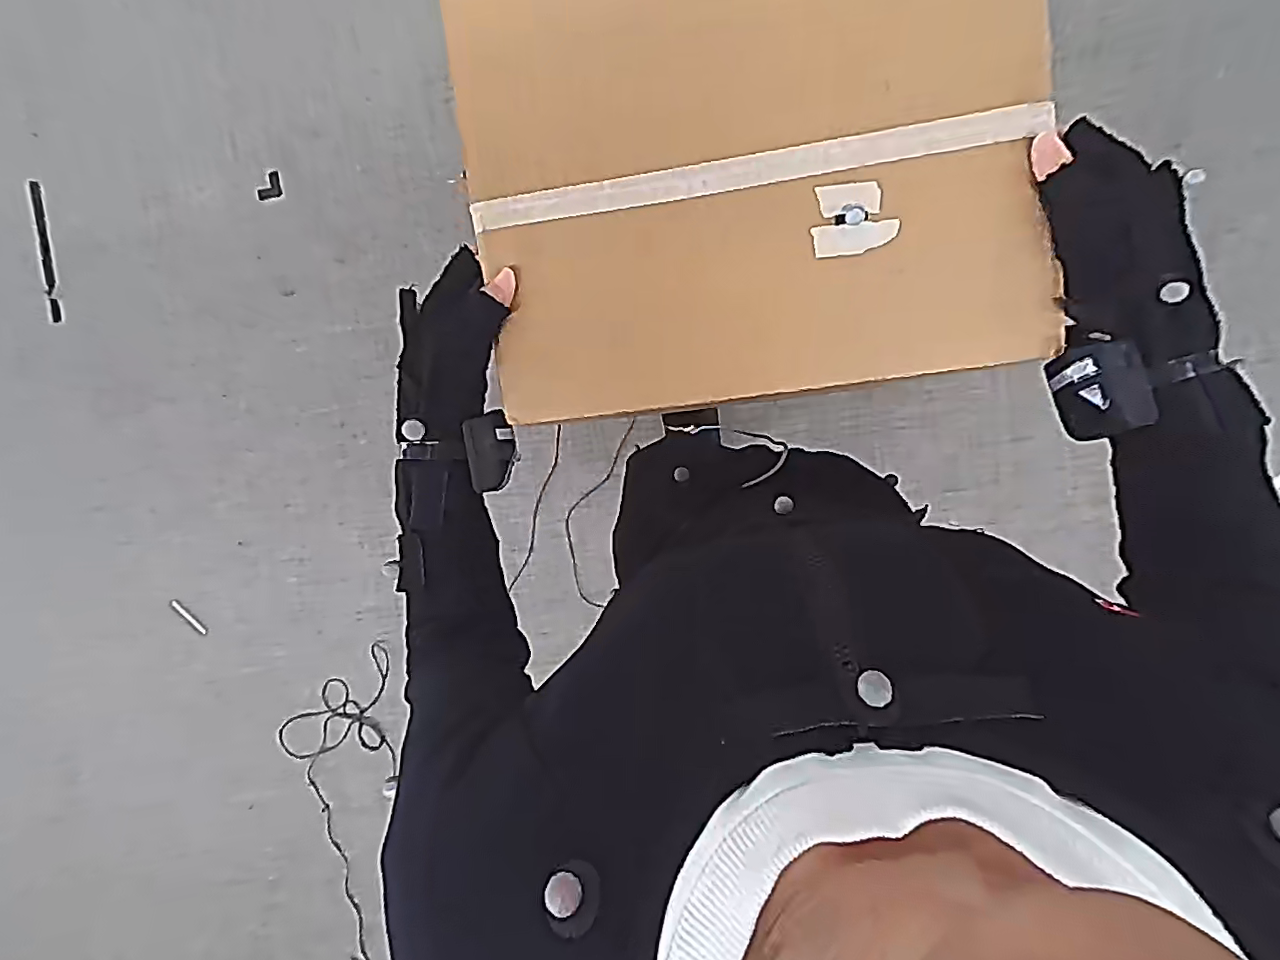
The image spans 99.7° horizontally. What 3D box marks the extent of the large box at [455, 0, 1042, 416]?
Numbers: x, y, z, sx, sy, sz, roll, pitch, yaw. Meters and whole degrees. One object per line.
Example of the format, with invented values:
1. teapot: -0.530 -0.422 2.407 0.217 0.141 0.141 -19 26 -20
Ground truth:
1. large box: 0.087 -0.245 0.544 0.408 0.320 0.320 -7 97 5
